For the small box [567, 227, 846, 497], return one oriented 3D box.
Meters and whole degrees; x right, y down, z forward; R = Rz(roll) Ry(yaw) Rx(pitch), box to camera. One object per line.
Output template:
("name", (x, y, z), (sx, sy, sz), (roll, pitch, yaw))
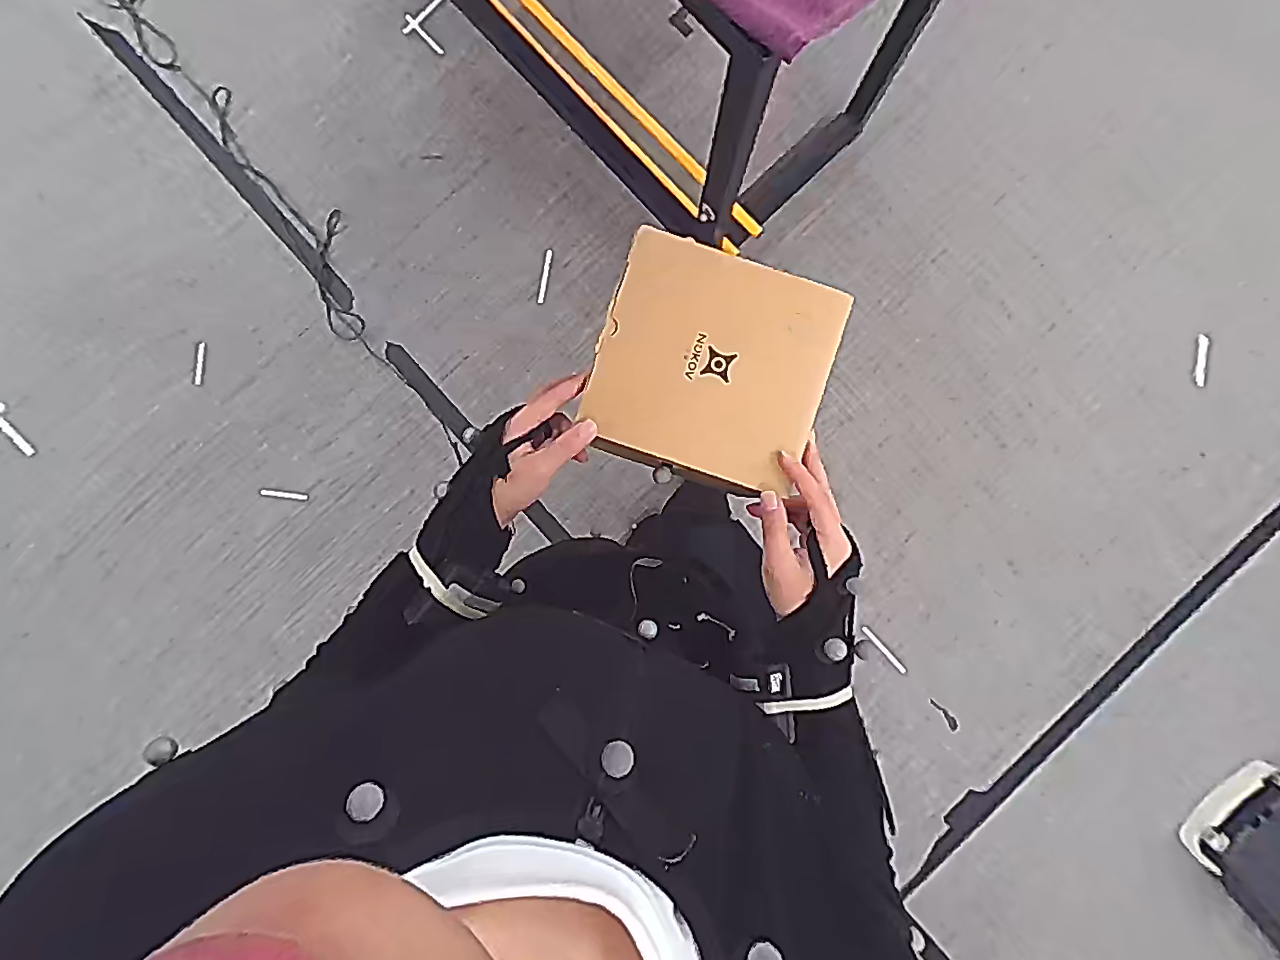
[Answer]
("small box", (0.051, -0.090, 0.490), (0.179, 0.176, 0.168), (18, 89, 0))
